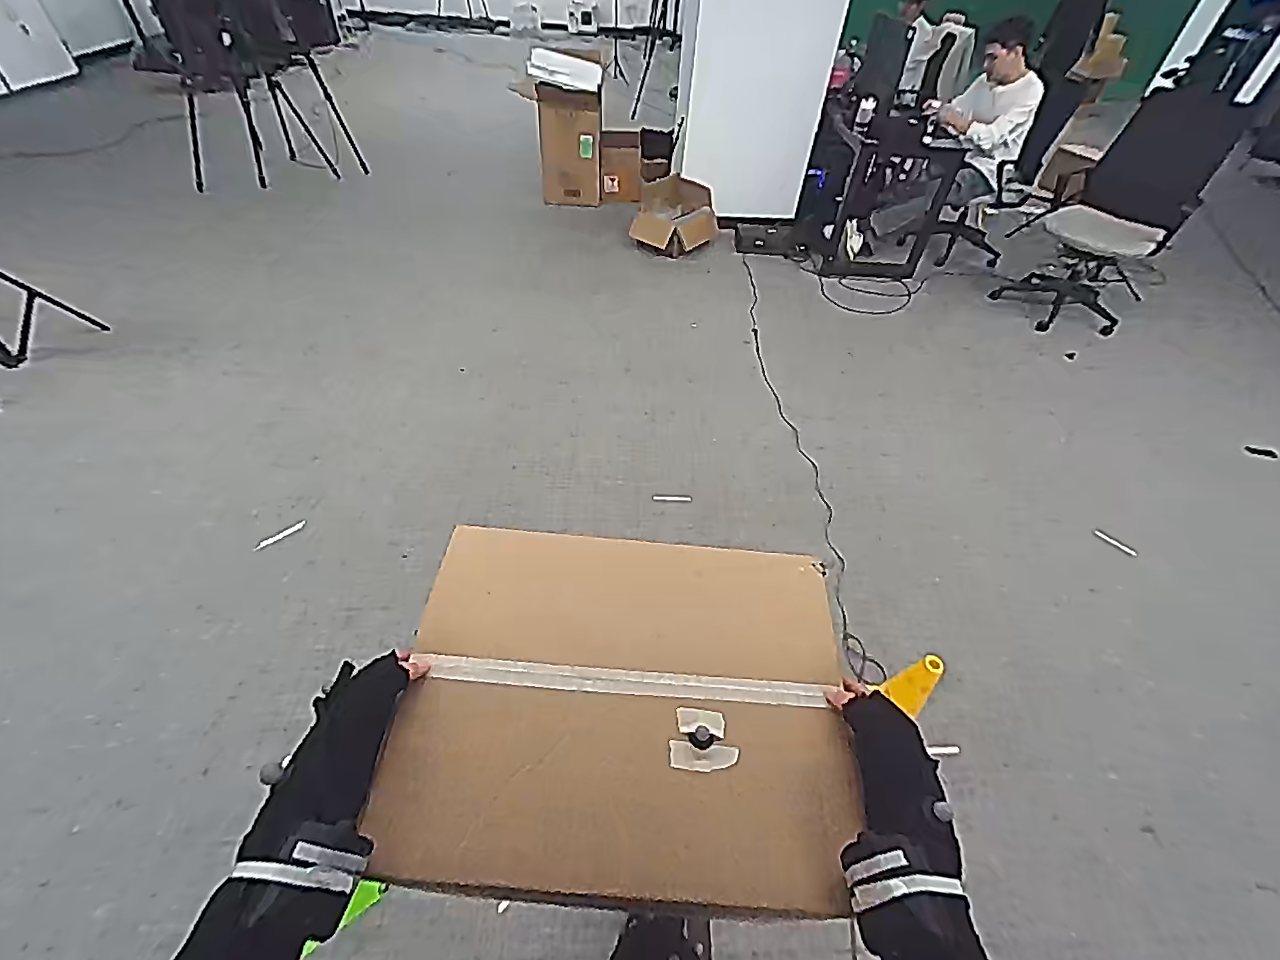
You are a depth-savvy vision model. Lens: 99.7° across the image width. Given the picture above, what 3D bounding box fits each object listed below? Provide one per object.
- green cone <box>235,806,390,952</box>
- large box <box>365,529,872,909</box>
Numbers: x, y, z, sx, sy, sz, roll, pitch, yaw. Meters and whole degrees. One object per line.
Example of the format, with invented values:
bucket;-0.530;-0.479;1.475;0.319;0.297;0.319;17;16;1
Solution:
green cone;-0.663;0.733;1.044;0.202;0.368;0.200;-29;54;-26
large box;-0.020;0.283;0.623;0.408;0.320;0.320;6;50;-1
